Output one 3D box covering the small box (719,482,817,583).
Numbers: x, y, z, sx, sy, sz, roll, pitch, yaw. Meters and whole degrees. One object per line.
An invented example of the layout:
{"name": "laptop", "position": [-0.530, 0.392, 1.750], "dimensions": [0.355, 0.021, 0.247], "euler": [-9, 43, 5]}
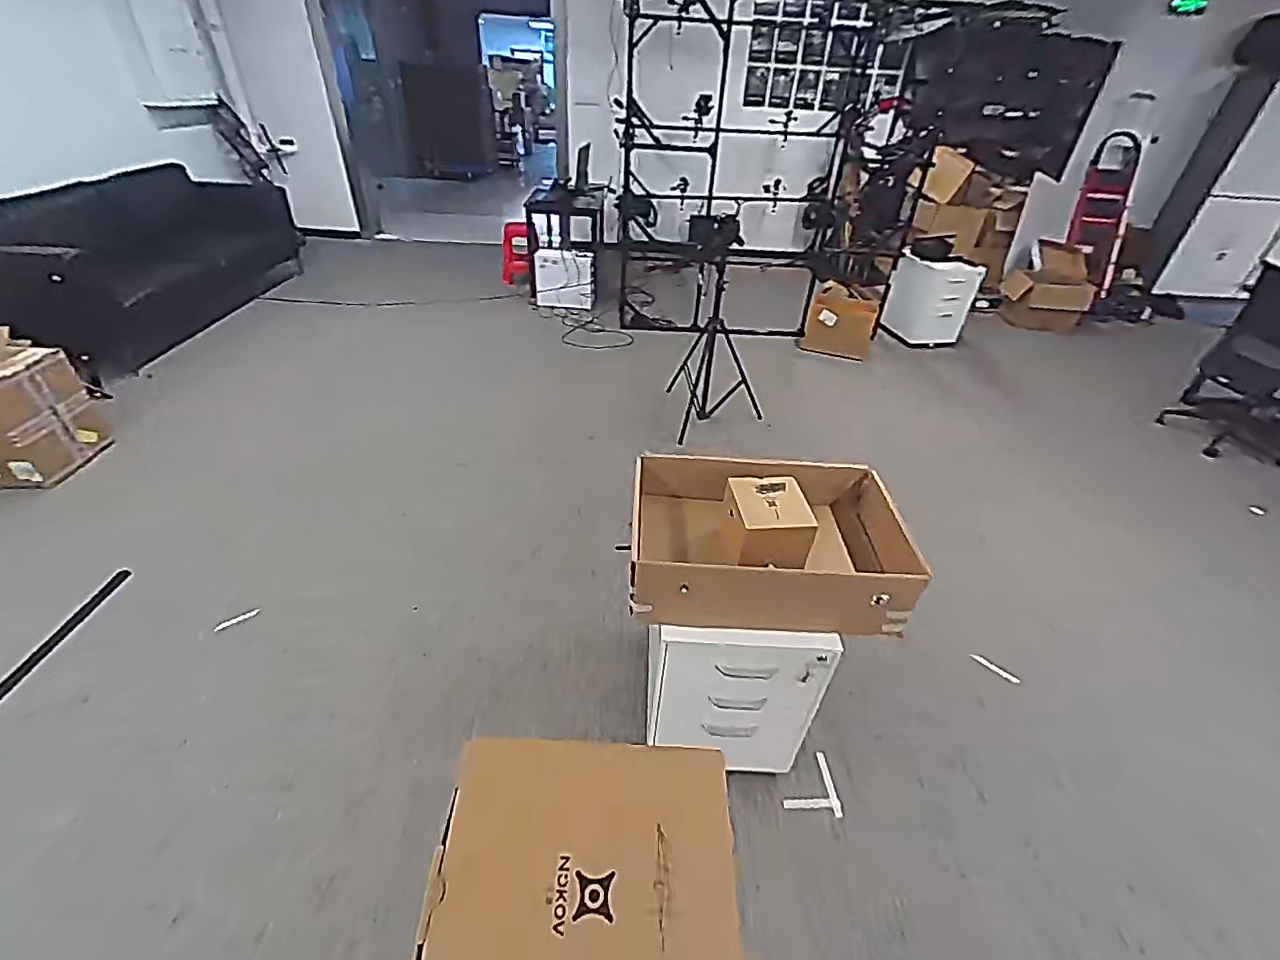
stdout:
{"name": "small box", "position": [0.290, 0.122, 1.276], "dimensions": [0.168, 0.176, 0.179], "euler": [-2, 38, -7]}
